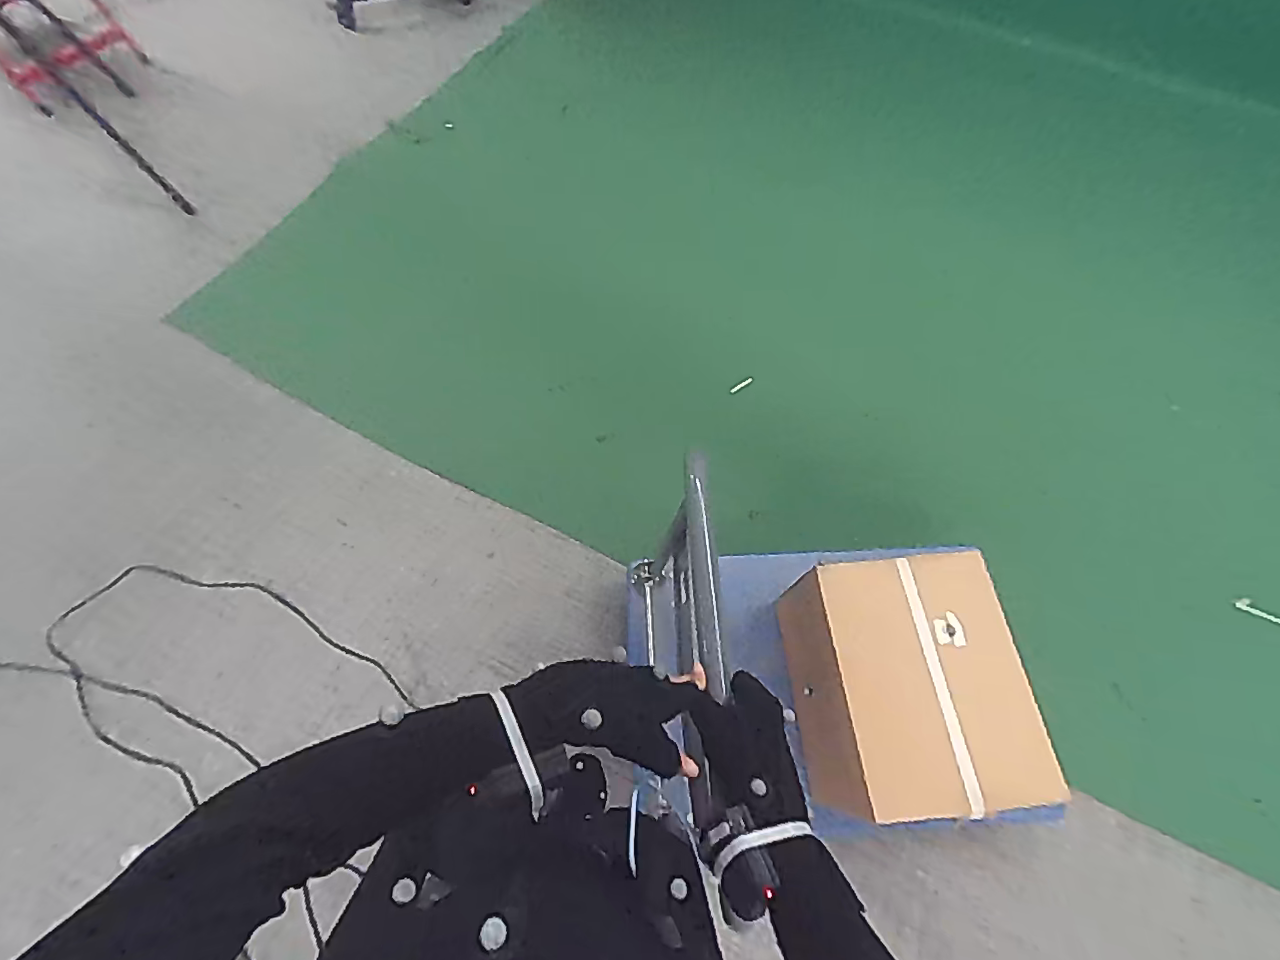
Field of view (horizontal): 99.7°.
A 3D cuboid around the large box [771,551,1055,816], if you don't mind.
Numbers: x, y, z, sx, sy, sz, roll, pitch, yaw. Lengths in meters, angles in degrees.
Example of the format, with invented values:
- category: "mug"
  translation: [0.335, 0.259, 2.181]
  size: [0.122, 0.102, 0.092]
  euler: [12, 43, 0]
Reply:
- category: "large box"
  translation: [0.474, 0.388, 1.050]
  size: [0.320, 0.320, 0.408]
  euler: [-4, 64, -5]
